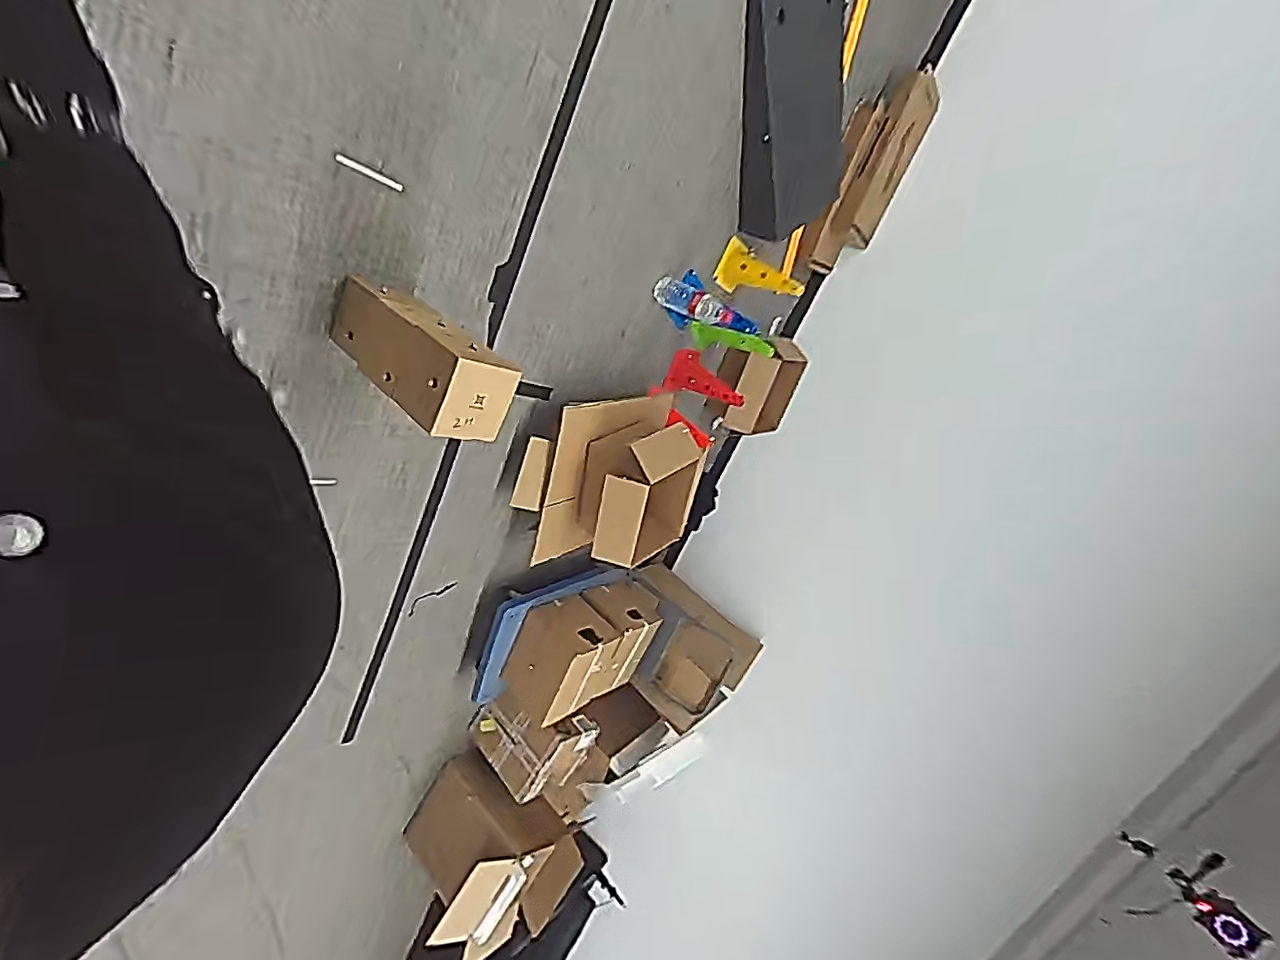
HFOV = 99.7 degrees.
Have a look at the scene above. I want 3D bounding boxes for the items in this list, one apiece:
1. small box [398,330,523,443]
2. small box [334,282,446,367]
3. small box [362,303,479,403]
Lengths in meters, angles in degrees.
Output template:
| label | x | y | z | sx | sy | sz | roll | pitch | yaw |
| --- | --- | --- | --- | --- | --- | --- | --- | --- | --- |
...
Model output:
| label | x | y | z | sx | sy | sz | roll | pitch | yaw |
| --- | --- | --- | --- | --- | --- | --- | --- | --- | --- |
| small box | -0.393 | -0.201 | 1.169 | 0.168 | 0.176 | 0.179 | 2 | 121 | -56 |
| small box | -0.620 | -0.370 | 1.334 | 0.179 | 0.176 | 0.168 | -2 | 123 | -56 |
| small box | -0.511 | -0.284 | 1.249 | 0.168 | 0.176 | 0.179 | 0 | 121 | -56 |
